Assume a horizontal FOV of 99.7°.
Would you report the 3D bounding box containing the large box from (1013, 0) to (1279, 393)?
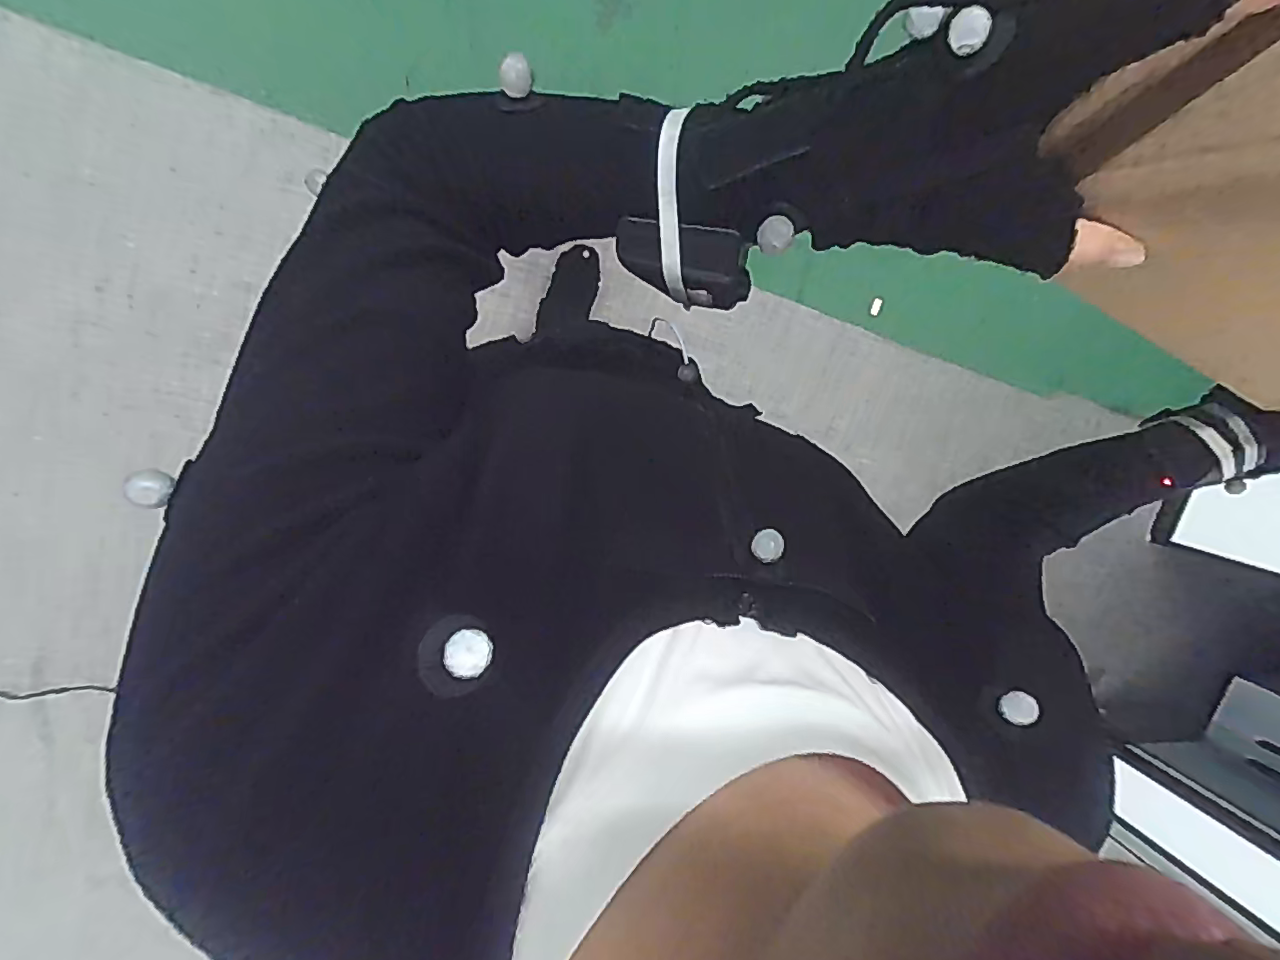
[{"bbox_3d":[0.429,-0.195,0.182,0.408,0.320,0.320,8,103,-29],"label":"large box"}]
